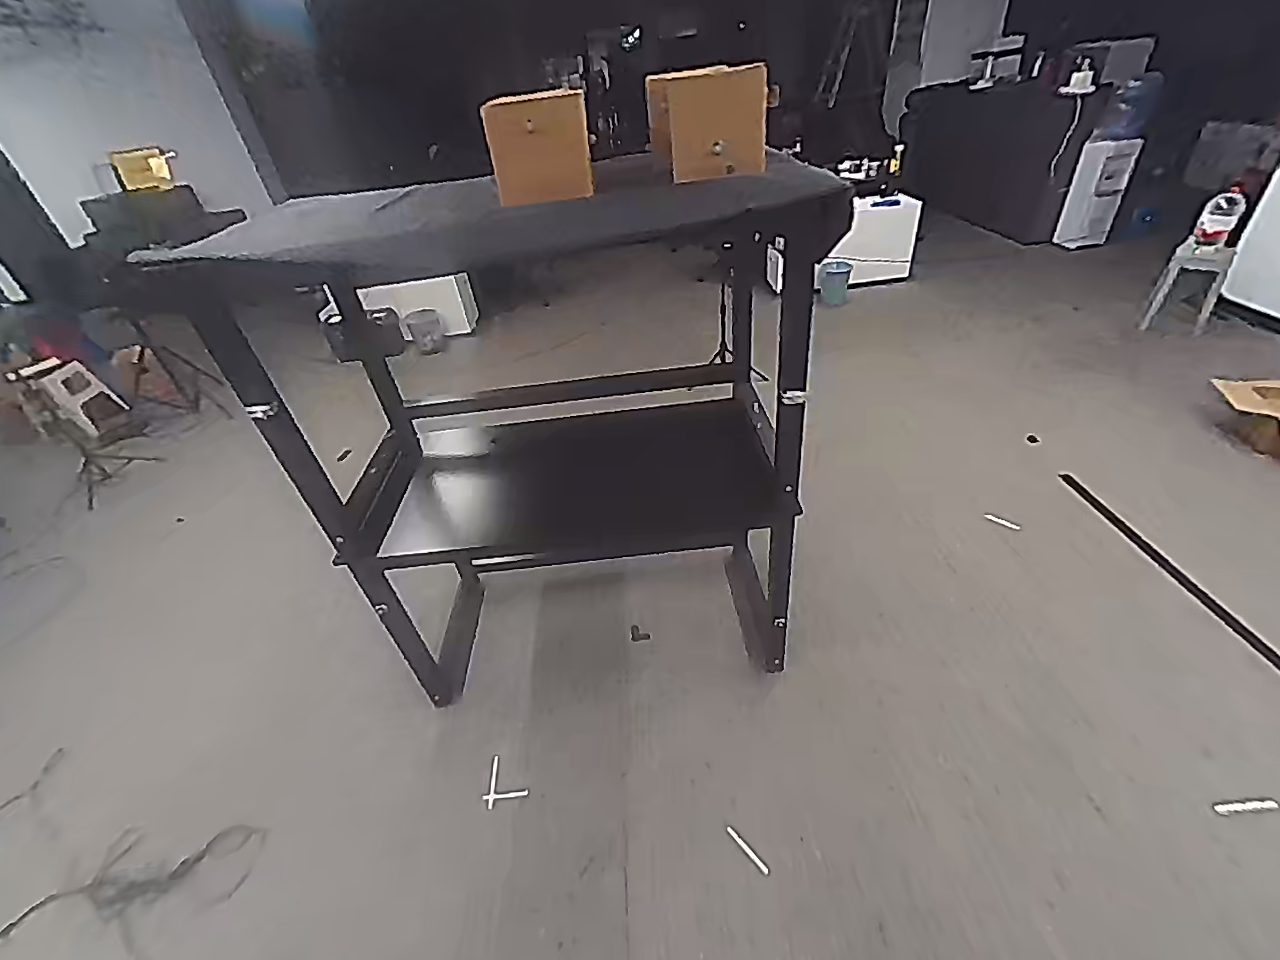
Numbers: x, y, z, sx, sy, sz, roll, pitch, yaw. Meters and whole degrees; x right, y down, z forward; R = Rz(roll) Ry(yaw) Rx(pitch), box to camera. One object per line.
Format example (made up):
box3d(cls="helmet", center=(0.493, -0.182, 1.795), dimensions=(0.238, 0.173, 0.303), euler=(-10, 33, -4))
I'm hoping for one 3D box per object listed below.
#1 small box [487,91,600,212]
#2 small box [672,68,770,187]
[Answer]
box3d(cls="small box", center=(-0.172, -0.630, 1.037), dimensions=(0.179, 0.176, 0.168), euler=(-7, 37, 2))
box3d(cls="small box", center=(0.151, -0.661, 1.018), dimensions=(0.168, 0.176, 0.179), euler=(-2, 37, 8))
